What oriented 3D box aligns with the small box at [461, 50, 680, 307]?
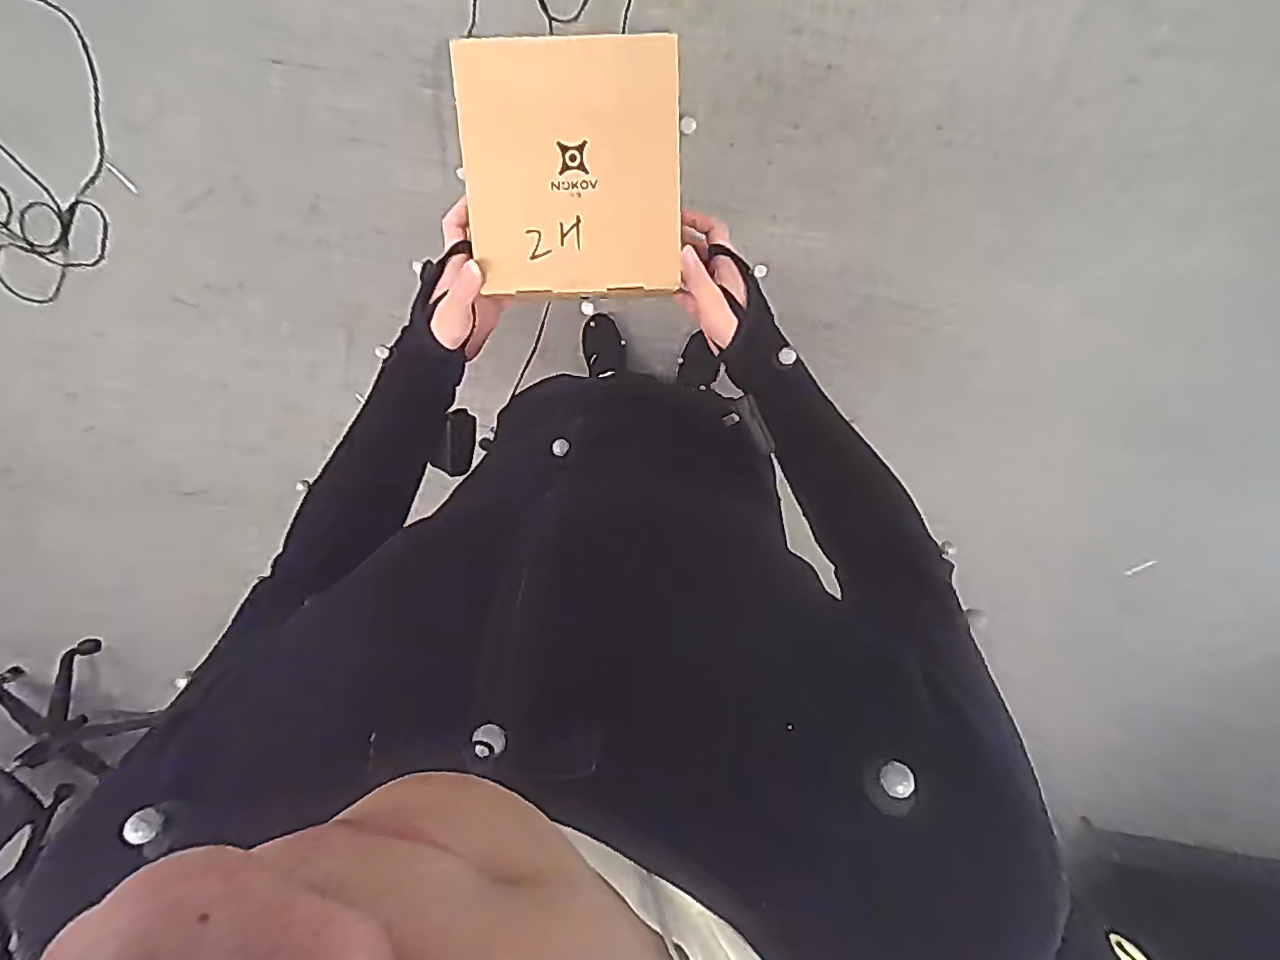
[{"bbox_3d":[-0.054,-0.255,0.499,0.168,0.176,0.179,-1,107,-1],"label":"small box"}]
